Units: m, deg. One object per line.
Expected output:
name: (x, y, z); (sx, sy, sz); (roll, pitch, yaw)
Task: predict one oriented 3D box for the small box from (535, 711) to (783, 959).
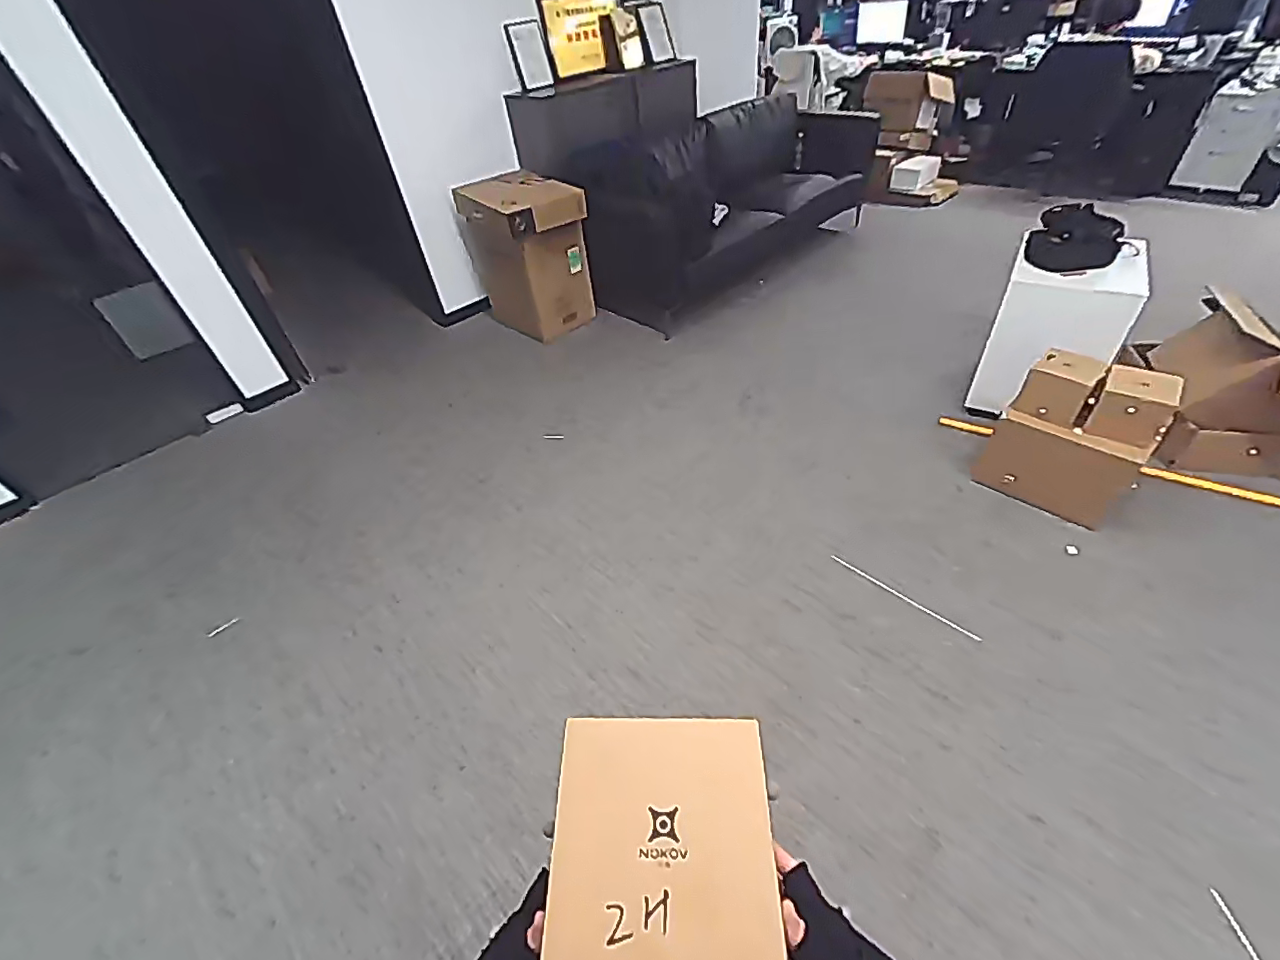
small box: (0.017, 0.317, 0.461); (0.168, 0.176, 0.179); (0, 48, 3)
